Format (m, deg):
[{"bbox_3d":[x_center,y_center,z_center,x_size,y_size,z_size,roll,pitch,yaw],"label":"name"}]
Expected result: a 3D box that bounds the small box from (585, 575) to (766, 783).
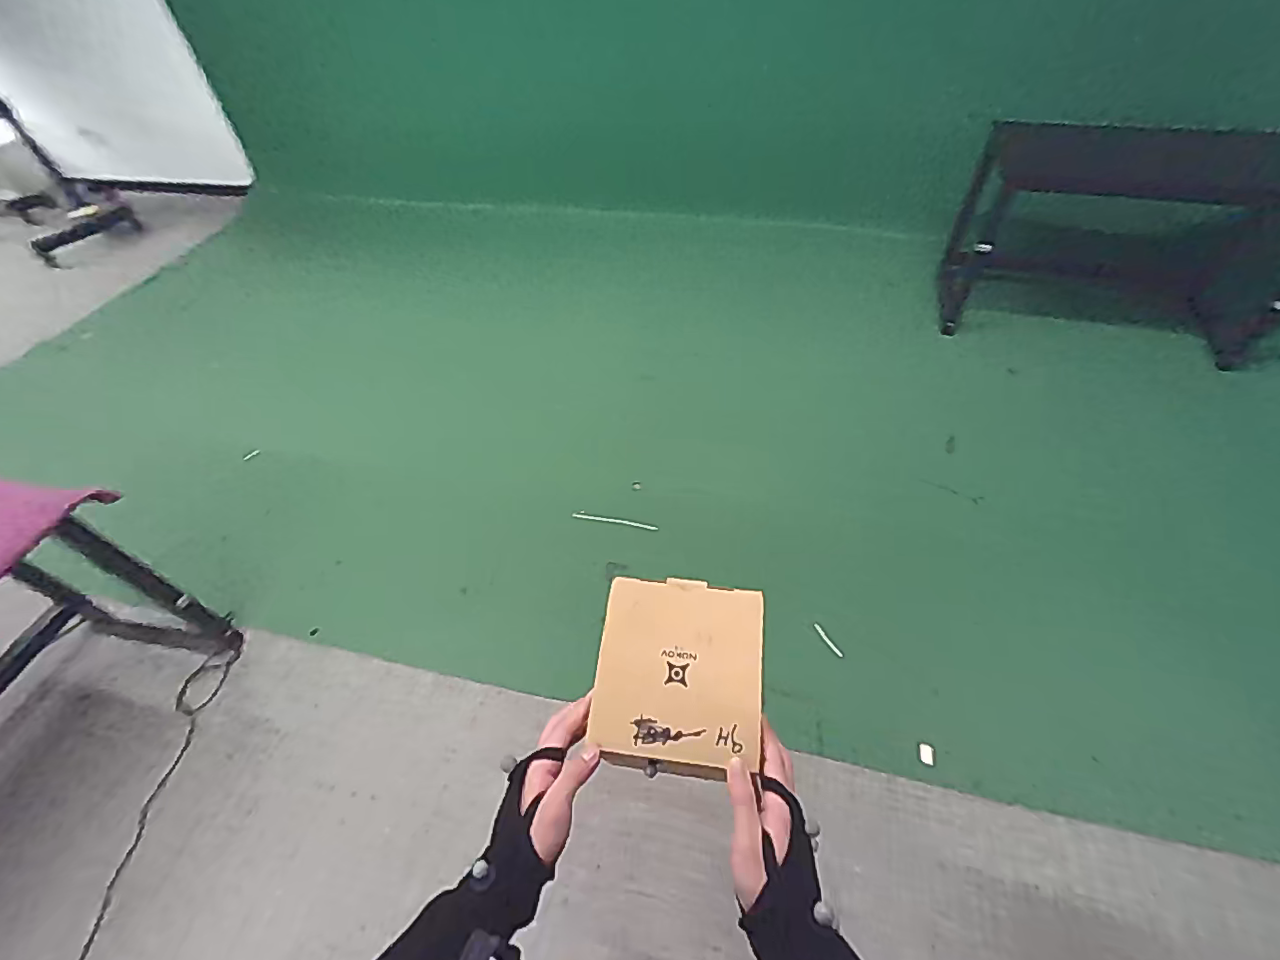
[{"bbox_3d":[0.045,0.226,0.605,0.168,0.176,0.179,4,59,8],"label":"small box"}]
